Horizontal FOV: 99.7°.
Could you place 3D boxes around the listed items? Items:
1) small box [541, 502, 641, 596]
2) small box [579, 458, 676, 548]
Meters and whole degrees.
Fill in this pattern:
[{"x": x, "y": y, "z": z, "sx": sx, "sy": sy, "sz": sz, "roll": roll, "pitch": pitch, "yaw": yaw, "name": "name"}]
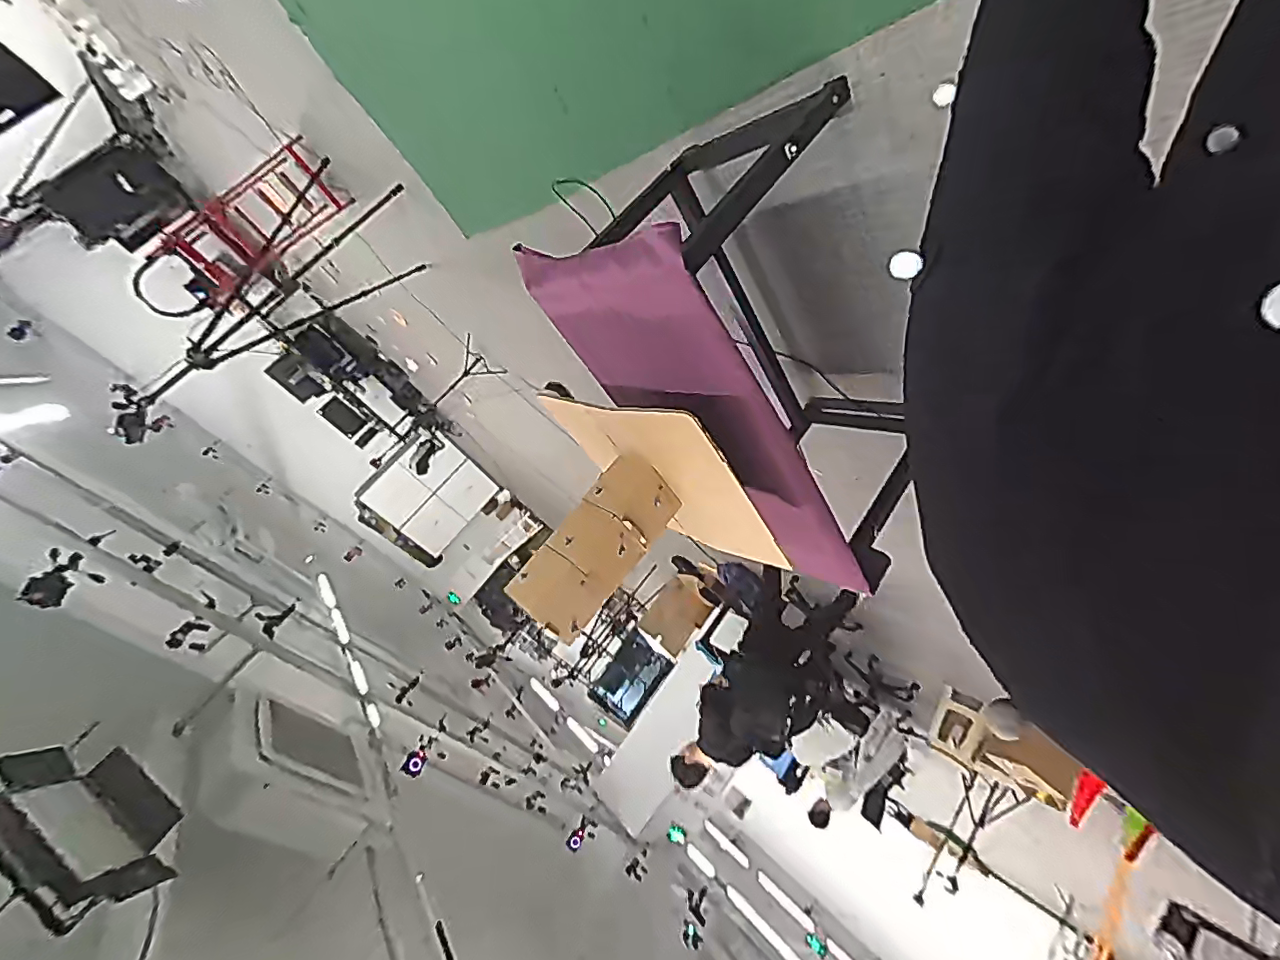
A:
[{"x": -0.131, "y": 0.181, "z": 1.485, "sx": 0.179, "sy": 0.176, "sz": 0.168, "roll": 19, "pitch": 154, "yaw": 51, "name": "small box"}, {"x": -0.032, "y": 0.059, "z": 1.528, "sx": 0.179, "sy": 0.176, "sz": 0.168, "roll": 20, "pitch": 156, "yaw": 50, "name": "small box"}]
